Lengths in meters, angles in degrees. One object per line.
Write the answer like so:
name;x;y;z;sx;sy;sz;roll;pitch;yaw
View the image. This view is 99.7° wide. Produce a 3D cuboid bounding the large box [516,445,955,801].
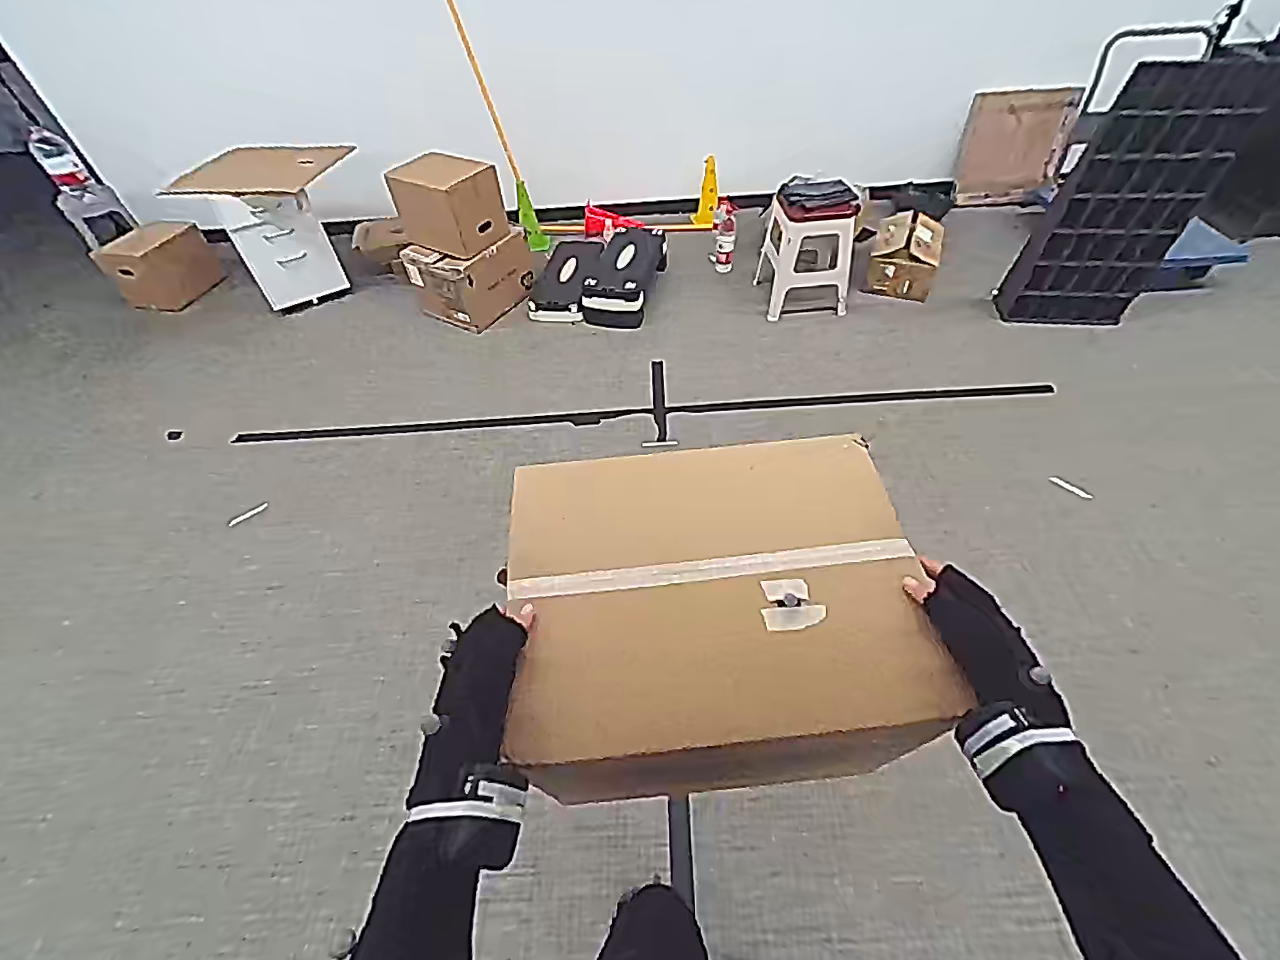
large box;0.075;0.188;0.681;0.408;0.320;0.320;-6;54;-2
